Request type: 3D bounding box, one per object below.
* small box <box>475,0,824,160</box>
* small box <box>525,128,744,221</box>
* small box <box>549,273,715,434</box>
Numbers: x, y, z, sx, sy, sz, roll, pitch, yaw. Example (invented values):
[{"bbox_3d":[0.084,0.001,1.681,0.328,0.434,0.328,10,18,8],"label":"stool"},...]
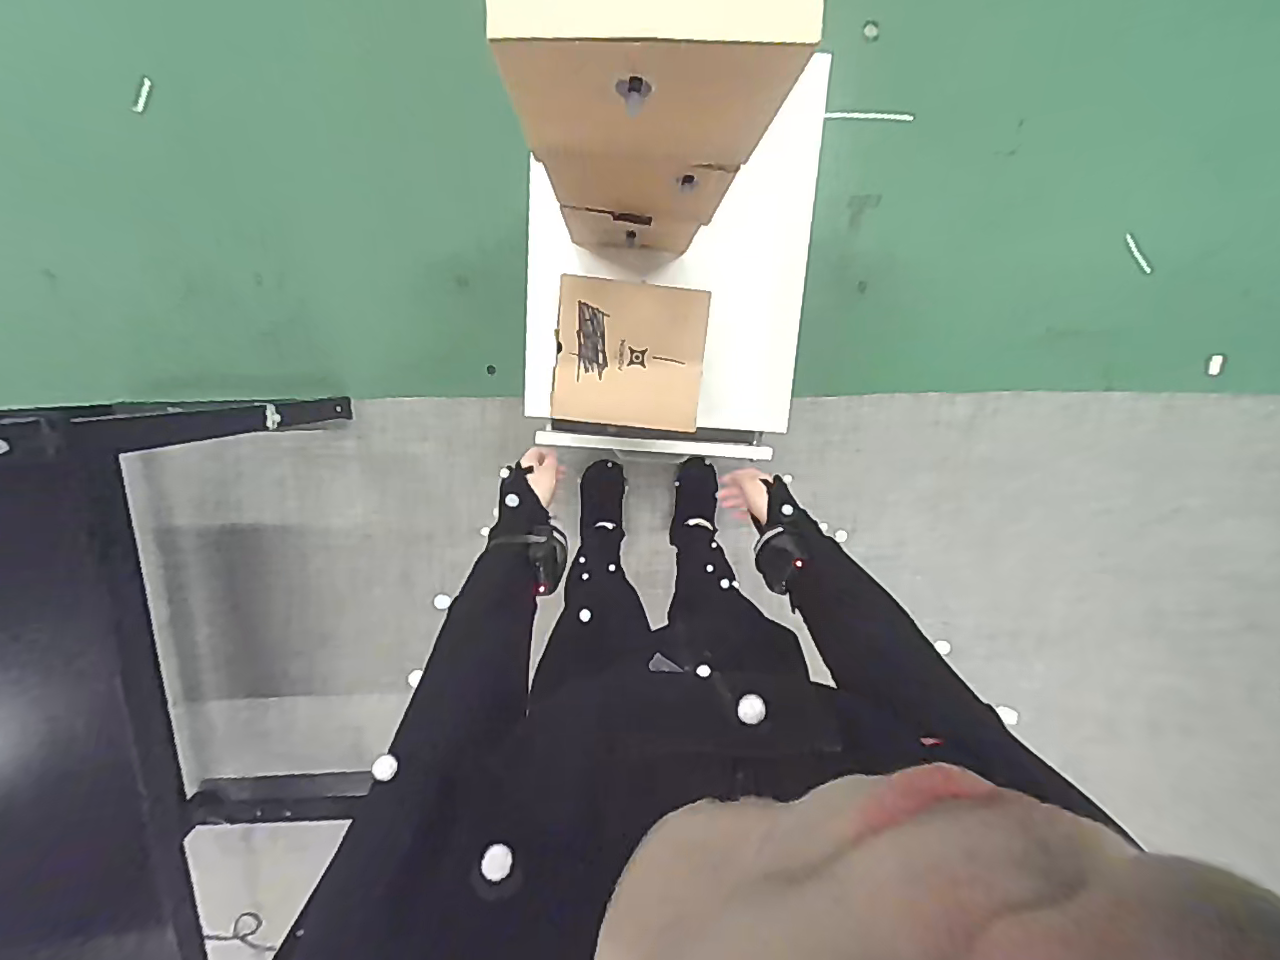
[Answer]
[{"bbox_3d":[0.003,-0.316,0.333,0.179,0.176,0.168,-1,102,-2],"label":"small box"},{"bbox_3d":[0.002,-0.353,0.493,0.179,0.176,0.168,6,100,-4],"label":"small box"},{"bbox_3d":[-0.013,-0.154,0.694,0.179,0.176,0.168,6,99,-4],"label":"small box"}]
